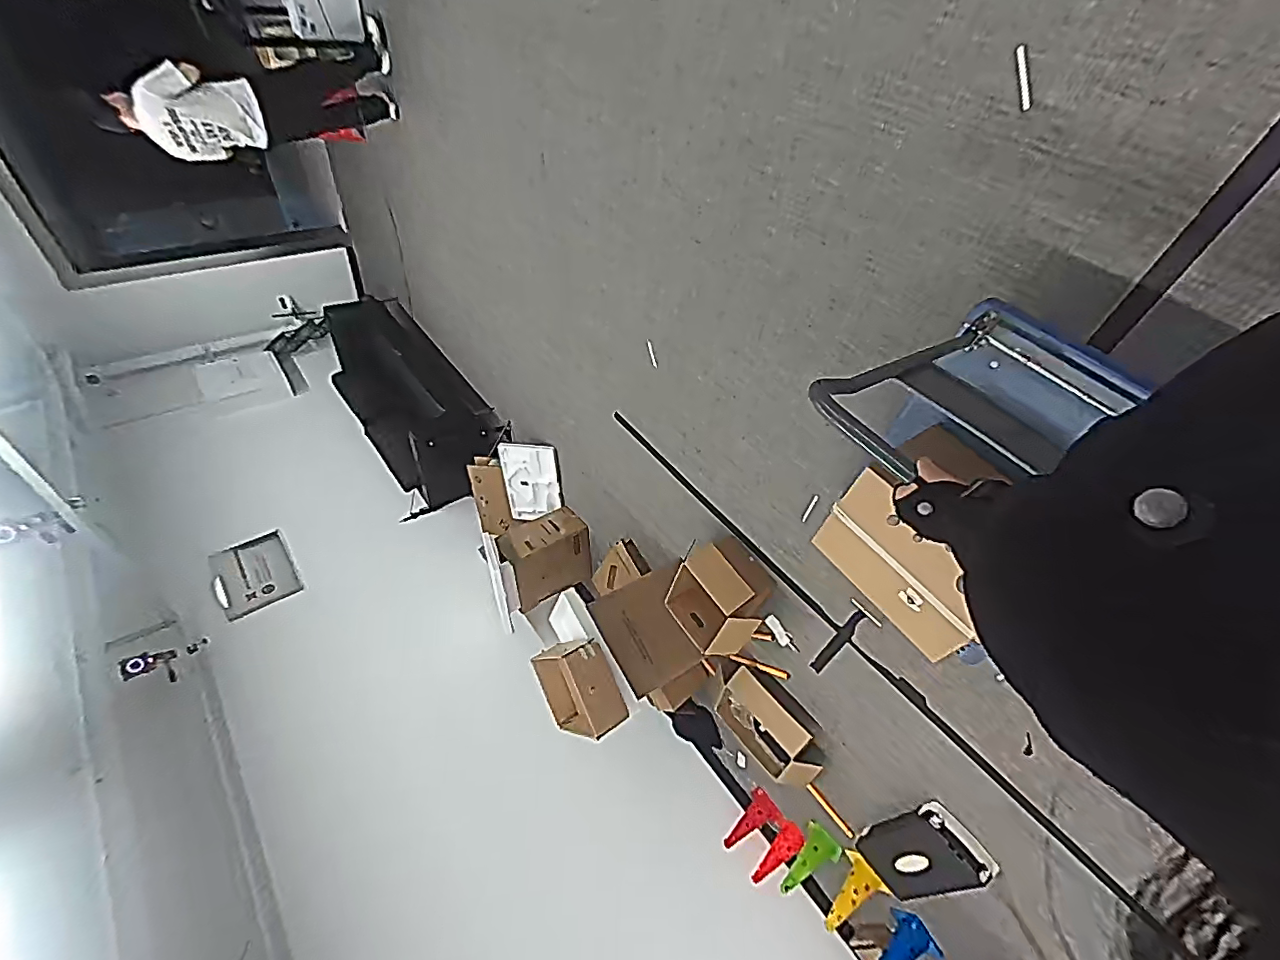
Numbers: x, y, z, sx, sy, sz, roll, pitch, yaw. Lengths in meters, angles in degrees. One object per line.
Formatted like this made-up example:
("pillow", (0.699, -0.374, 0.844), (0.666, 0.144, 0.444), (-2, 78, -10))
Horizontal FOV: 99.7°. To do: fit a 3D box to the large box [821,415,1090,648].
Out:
("large box", (0.738, 0.111, 1.313), (0.408, 0.320, 0.320), (47, 147, 25))
